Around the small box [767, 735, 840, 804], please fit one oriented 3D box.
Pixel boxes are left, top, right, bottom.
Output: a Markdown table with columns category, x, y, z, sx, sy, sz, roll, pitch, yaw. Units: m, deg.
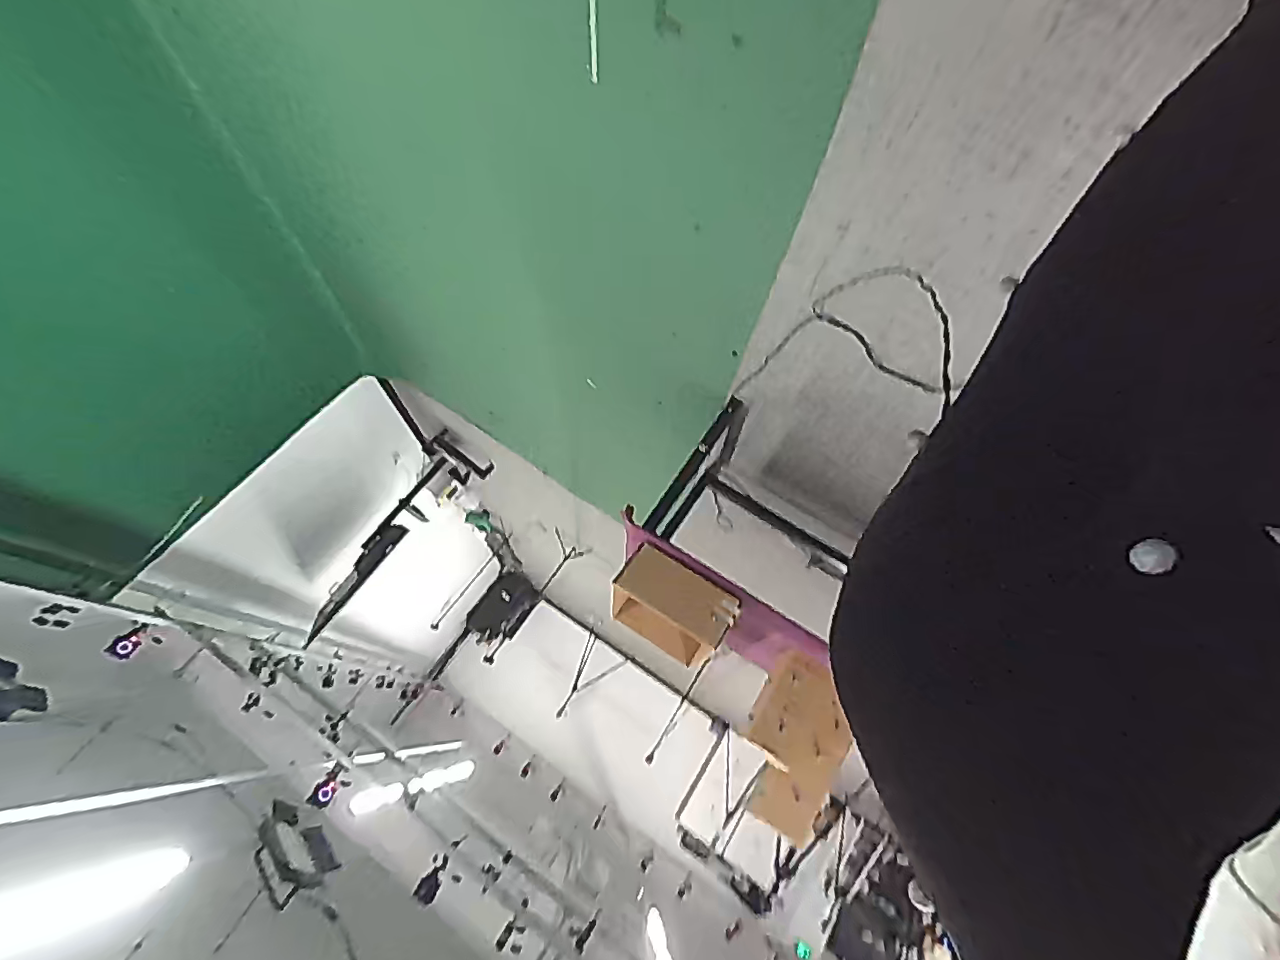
| category | x | y | z | sx | sy | sz | roll | pitch | yaw |
| --- | --- | --- | --- | --- | --- | --- | --- | --- | --- |
| small box | 0.588 | 1.022 | 1.942 | 0.168 | 0.176 | 0.179 | 33 | 157 | 9 |

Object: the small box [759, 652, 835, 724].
| category | x | y | z | sx | sy | sz | roll | pitch | yaw |
| --- | --- | --- | --- | --- | --- | --- | --- | --- | --- |
| small box | 0.531 | 0.699 | 1.822 | 0.168 | 0.176 | 0.179 | 33 | 159 | 11 |

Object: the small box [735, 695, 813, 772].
| category | x | y | z | sx | sy | sz | roll | pitch | yaw |
| --- | --- | --- | --- | --- | --- | --- | --- | --- | --- |
| small box | 0.439 | 0.821 | 1.766 | 0.168 | 0.176 | 0.179 | 33 | 158 | 12 |

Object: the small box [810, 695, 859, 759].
| category | x | y | z | sx | sy | sz | roll | pitch | yaw |
| --- | --- | --- | --- | --- | --- | --- | --- | --- | --- |
| small box | 0.685 | 0.903 | 2.000 | 0.168 | 0.176 | 0.179 | 32 | 158 | 13 |
